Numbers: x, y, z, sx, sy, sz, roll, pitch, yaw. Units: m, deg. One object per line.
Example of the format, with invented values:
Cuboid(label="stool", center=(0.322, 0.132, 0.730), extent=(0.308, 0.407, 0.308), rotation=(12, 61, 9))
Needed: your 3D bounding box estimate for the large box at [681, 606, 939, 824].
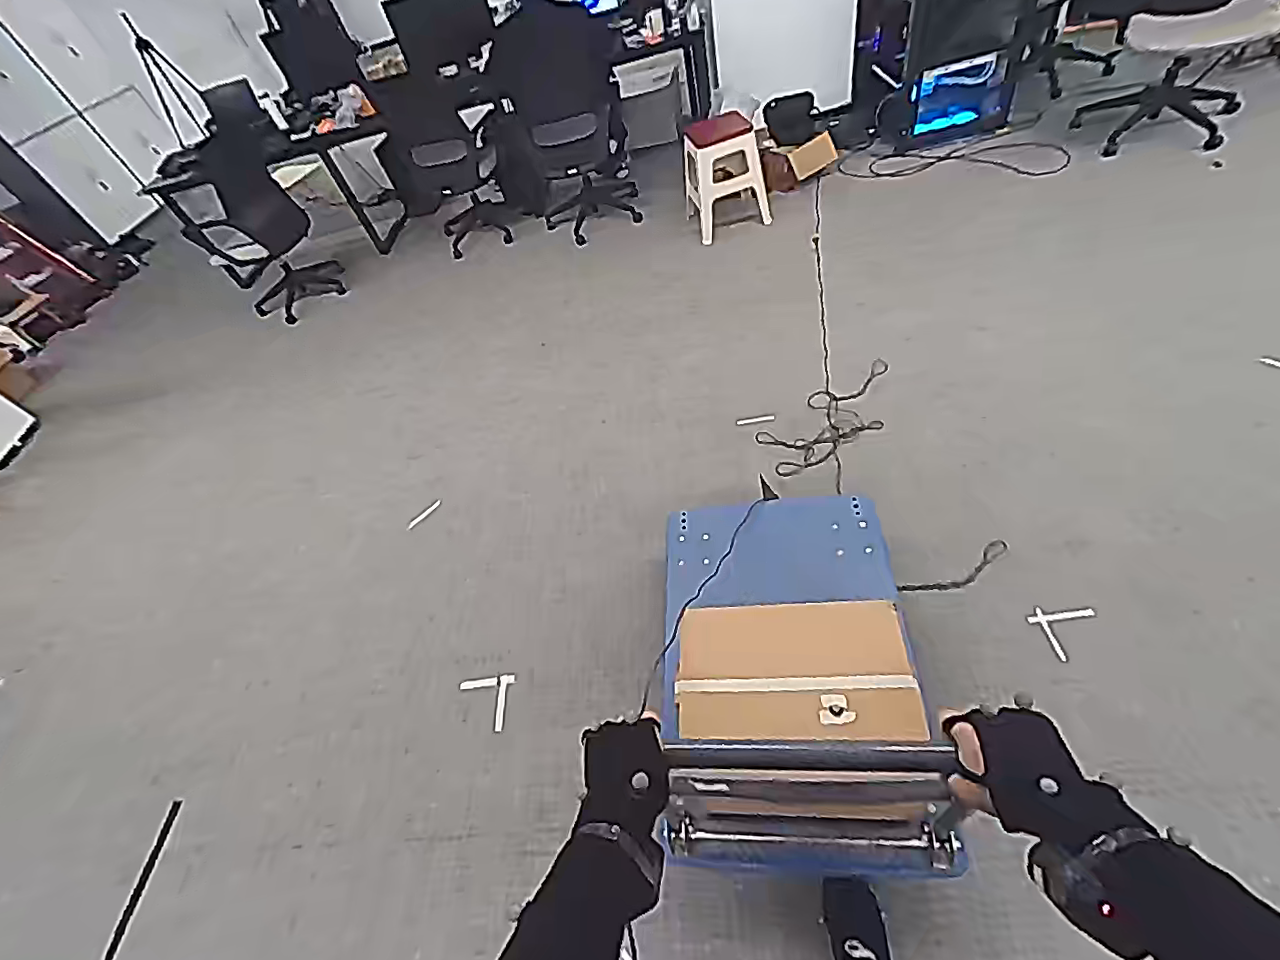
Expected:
Cuboid(label="large box", center=(0.298, 0.466, 1.058), extent=(0.408, 0.320, 0.320), rotation=(-5, 50, 11))
